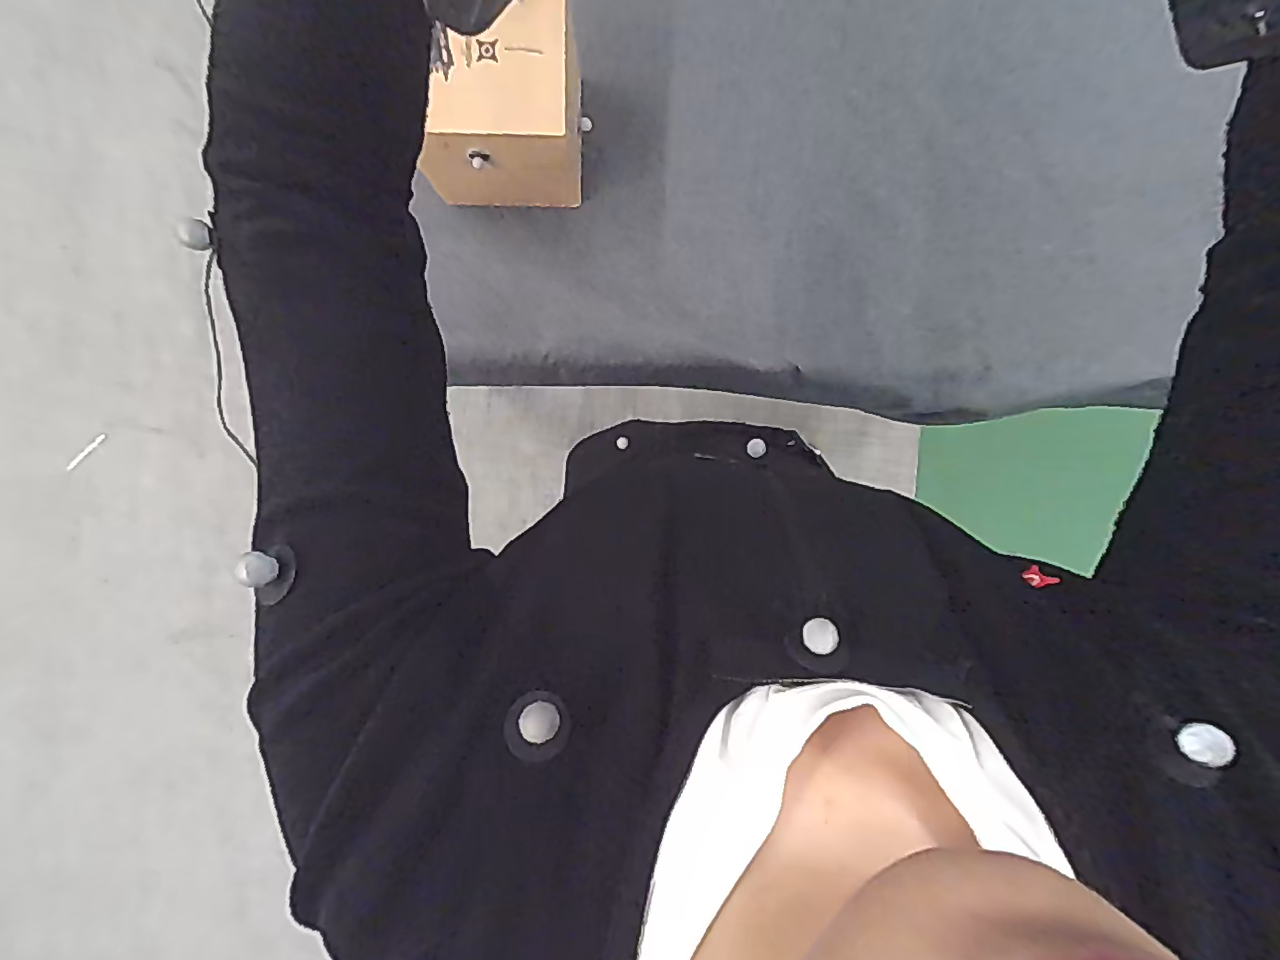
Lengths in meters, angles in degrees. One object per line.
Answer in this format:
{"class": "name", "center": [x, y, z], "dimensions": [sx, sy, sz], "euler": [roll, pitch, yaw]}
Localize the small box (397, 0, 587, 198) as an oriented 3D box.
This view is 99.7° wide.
{"class": "small box", "center": [-0.156, -0.443, 0.619], "dimensions": [0.179, 0.176, 0.168], "euler": [1, 95, -2]}
